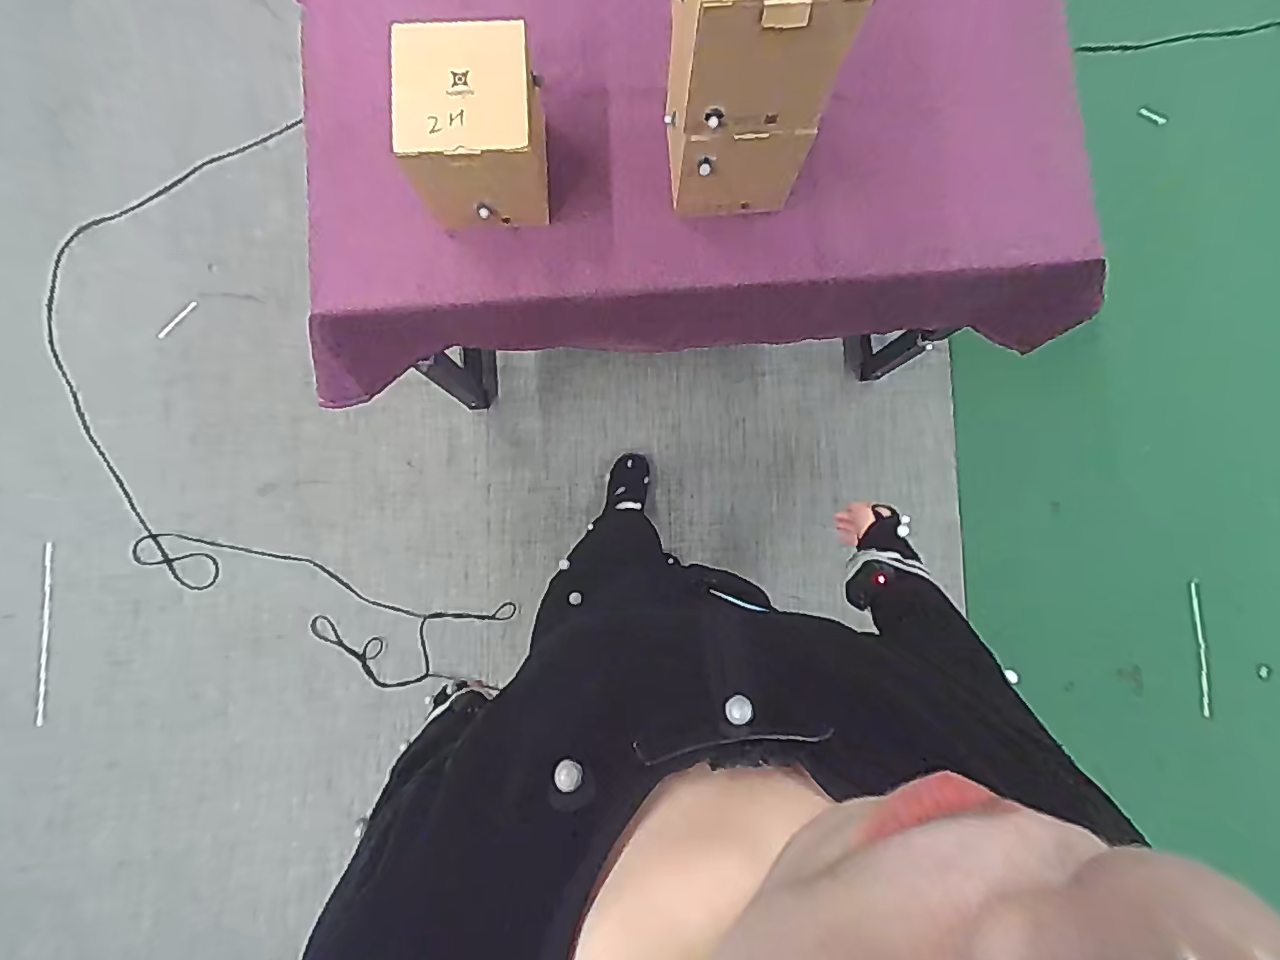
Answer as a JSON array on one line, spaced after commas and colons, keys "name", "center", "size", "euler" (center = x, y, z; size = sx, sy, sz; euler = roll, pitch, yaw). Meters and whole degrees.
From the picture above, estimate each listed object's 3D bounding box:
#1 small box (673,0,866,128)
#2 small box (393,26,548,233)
[{"name": "small box", "center": [0.128, -0.516, 0.589], "size": [0.168, 0.176, 0.179], "euler": [-4, 83, -1]}, {"name": "small box", "center": [-0.222, -0.468, 0.743], "size": [0.168, 0.176, 0.179], "euler": [-3, 84, -1]}]
